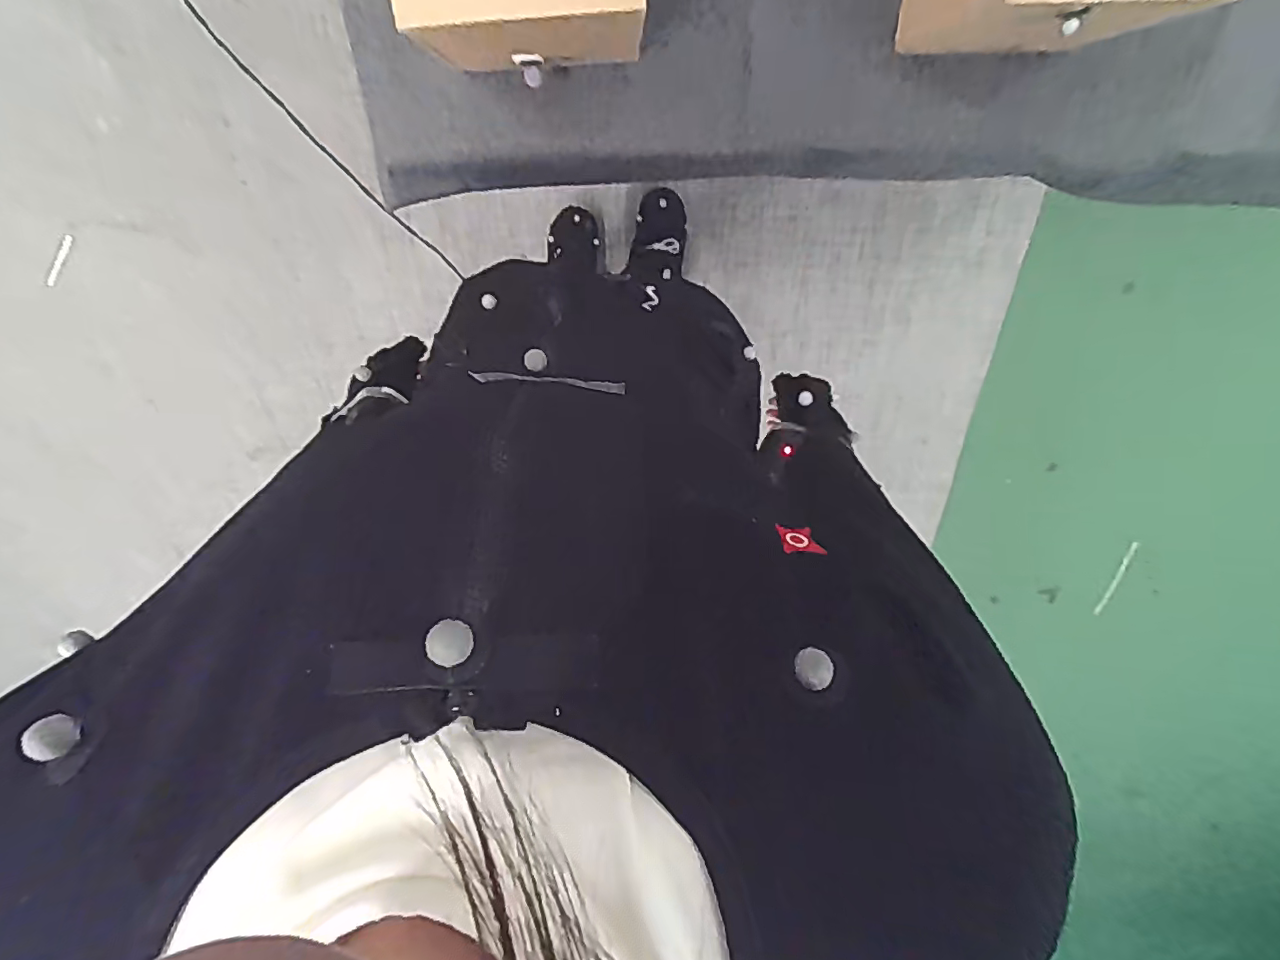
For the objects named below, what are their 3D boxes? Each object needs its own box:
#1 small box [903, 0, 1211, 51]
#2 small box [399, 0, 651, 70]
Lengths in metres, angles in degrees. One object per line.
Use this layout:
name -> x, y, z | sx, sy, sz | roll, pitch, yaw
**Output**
small box -> 0.317, -0.438, 0.389 | 0.168, 0.176, 0.179 | -1, 119, -1
small box -> -0.082, -0.421, 0.384 | 0.168, 0.176, 0.179 | -5, 119, 1
